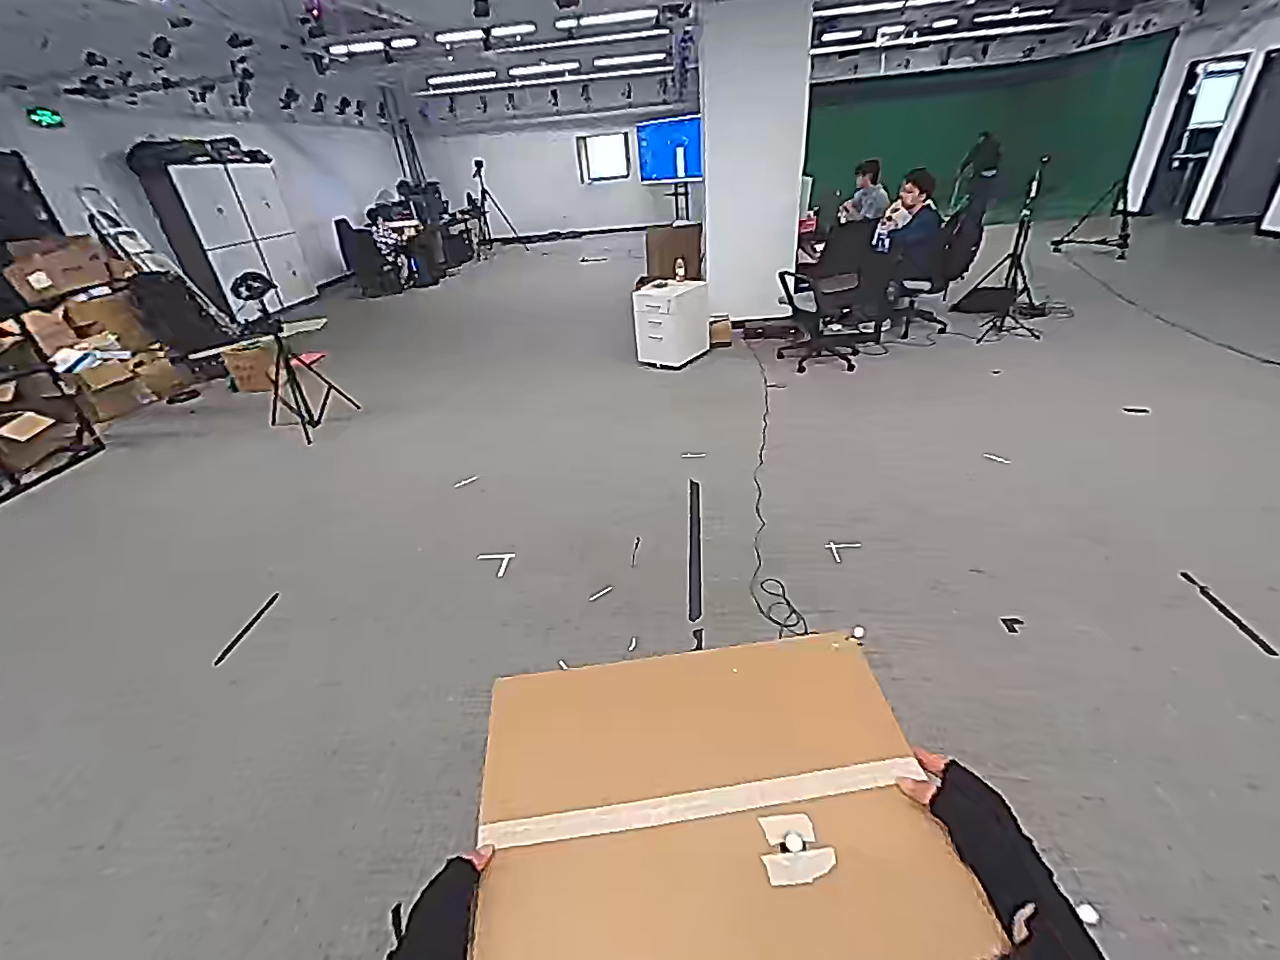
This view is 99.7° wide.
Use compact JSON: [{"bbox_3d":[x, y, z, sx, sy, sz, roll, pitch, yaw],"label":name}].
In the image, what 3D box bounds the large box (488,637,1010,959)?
[{"bbox_3d":[0.074,0.415,0.593,0.408,0.320,0.320,-6,40,-2],"label":"large box"}]
